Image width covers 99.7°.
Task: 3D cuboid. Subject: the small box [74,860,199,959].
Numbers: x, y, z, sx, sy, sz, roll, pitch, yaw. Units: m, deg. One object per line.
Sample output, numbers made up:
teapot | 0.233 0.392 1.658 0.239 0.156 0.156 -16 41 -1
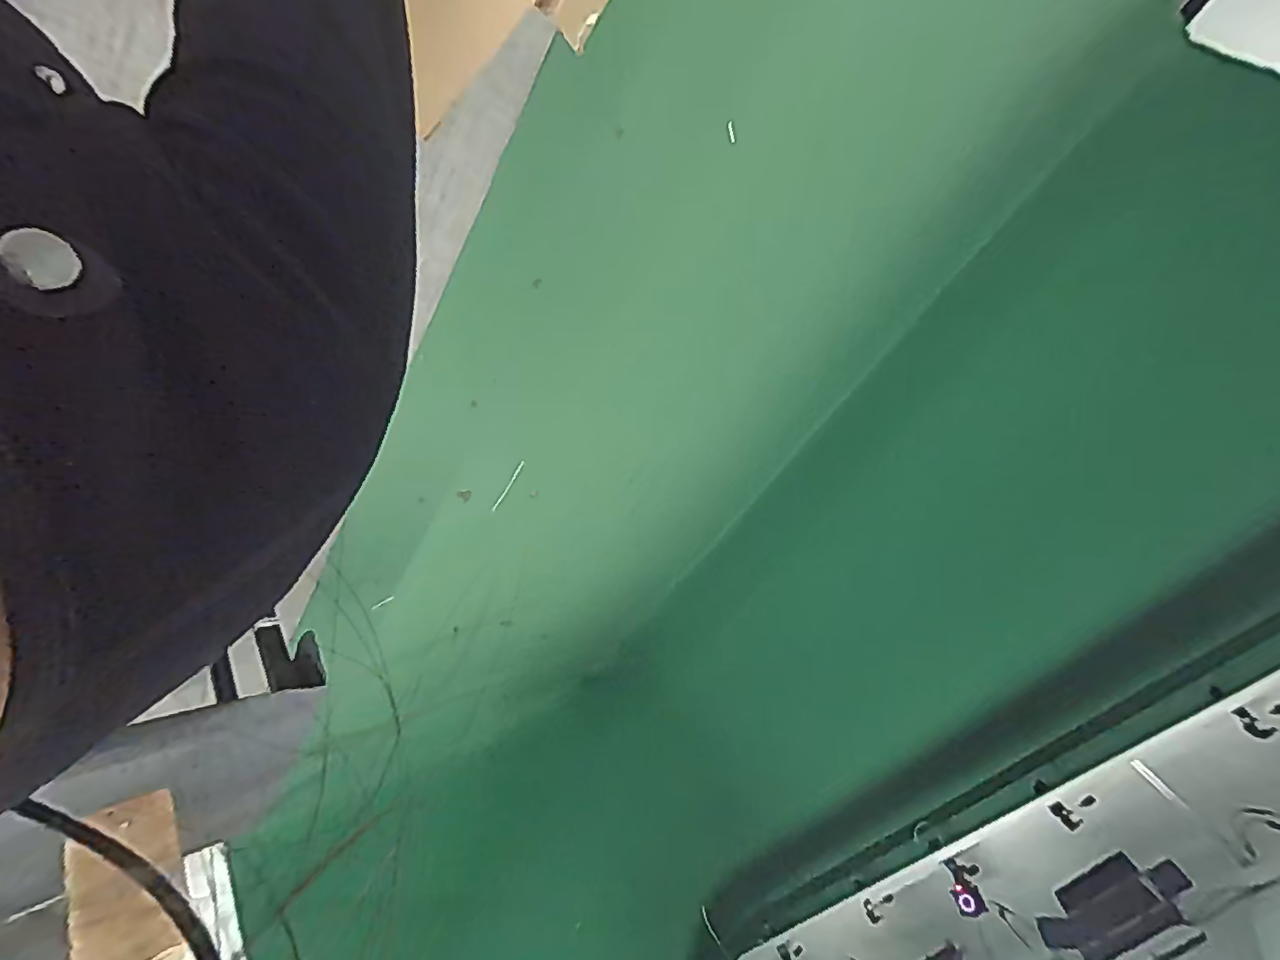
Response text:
small box | -1.068 0.952 1.144 0.168 0.176 0.179 2 134 -51

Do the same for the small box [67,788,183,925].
small box | -1.160 0.836 1.215 0.168 0.176 0.179 -1 135 -51
